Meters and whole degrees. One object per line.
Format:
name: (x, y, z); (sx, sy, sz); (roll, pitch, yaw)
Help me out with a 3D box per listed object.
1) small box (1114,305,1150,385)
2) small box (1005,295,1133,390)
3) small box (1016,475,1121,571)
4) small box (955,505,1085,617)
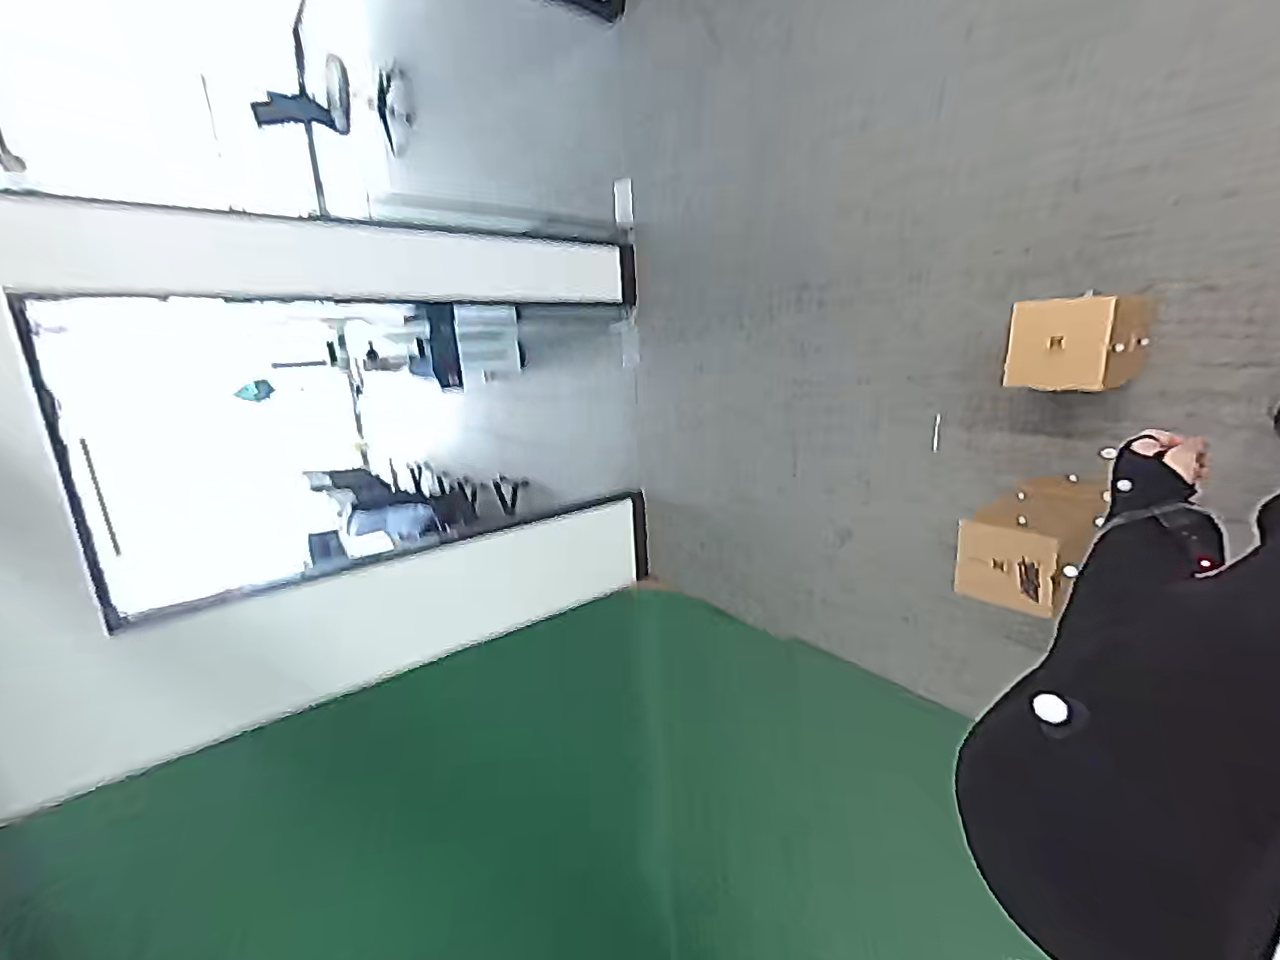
small box: (1.017, -0.310, 1.228); (0.179, 0.176, 0.168); (17, 112, 49)
small box: (0.893, -0.285, 1.126); (0.168, 0.176, 0.179); (15, 113, 50)
small box: (1.036, 0.097, 1.318); (0.168, 0.176, 0.179); (16, 112, 50)
small box: (0.784, 0.156, 1.116); (0.179, 0.176, 0.168); (13, 110, 52)
